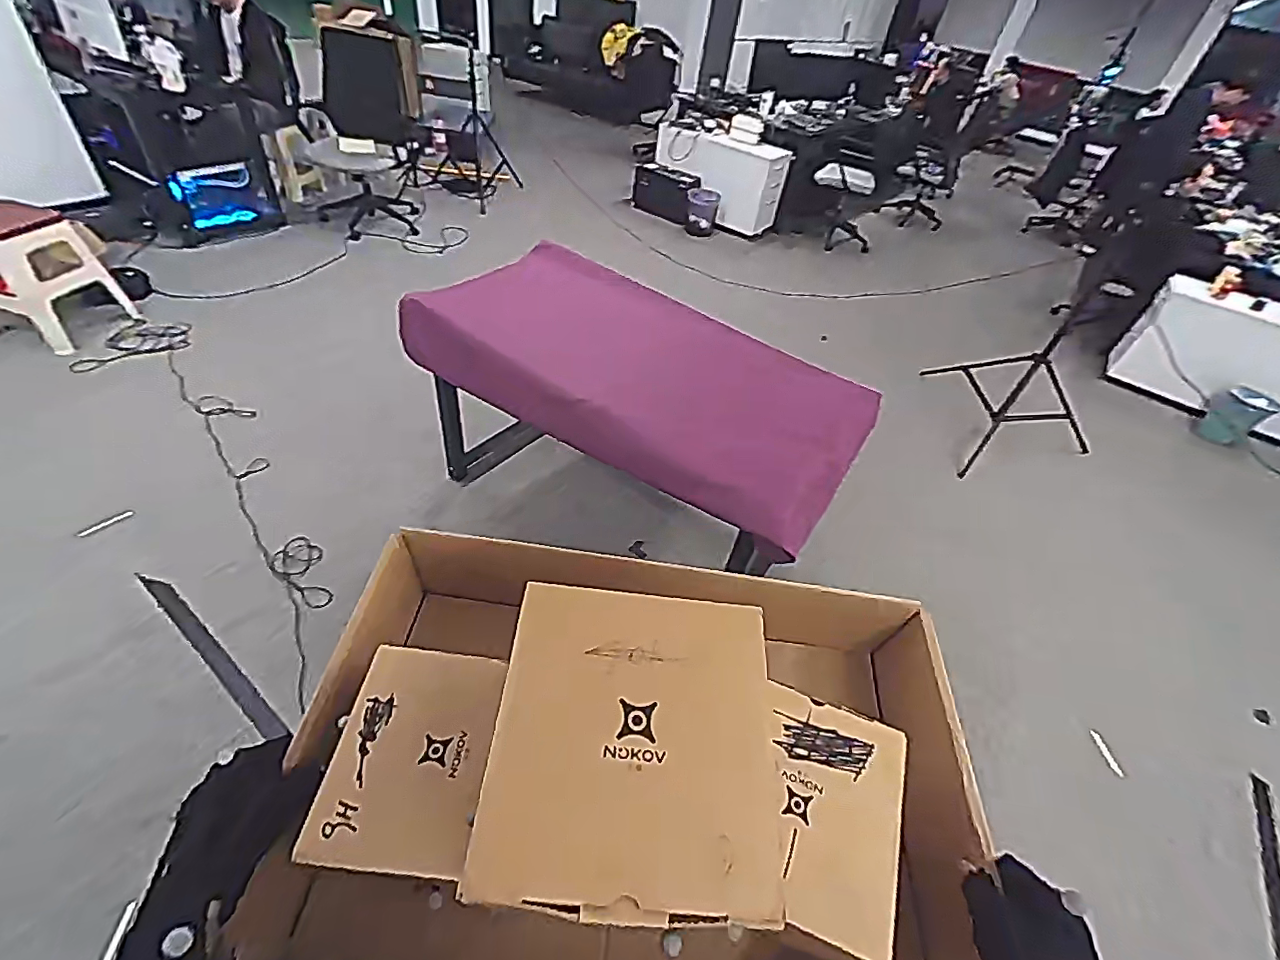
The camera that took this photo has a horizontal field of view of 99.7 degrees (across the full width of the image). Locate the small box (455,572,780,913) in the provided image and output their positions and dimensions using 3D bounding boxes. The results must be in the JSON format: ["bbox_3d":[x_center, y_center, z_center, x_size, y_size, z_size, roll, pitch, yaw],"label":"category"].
[{"bbox_3d":[-0.014,0.188,0.379,0.168,0.176,0.179,7,49,-4],"label":"small box"}]
